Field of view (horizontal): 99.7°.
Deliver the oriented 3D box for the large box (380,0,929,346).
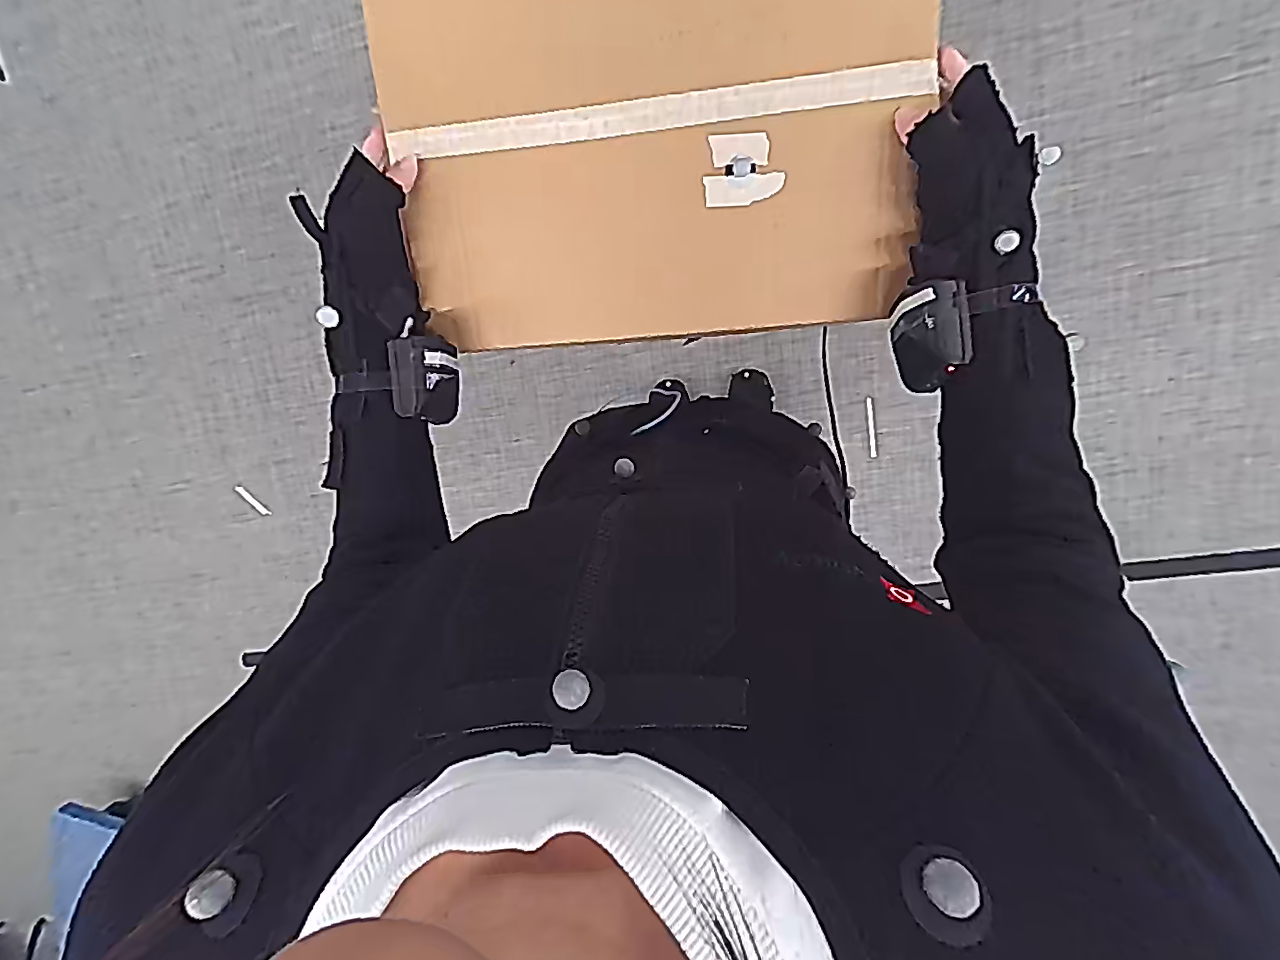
[{"bbox_3d":[0.020,-0.315,0.554,0.408,0.320,0.320,-4,105,6],"label":"large box"}]
